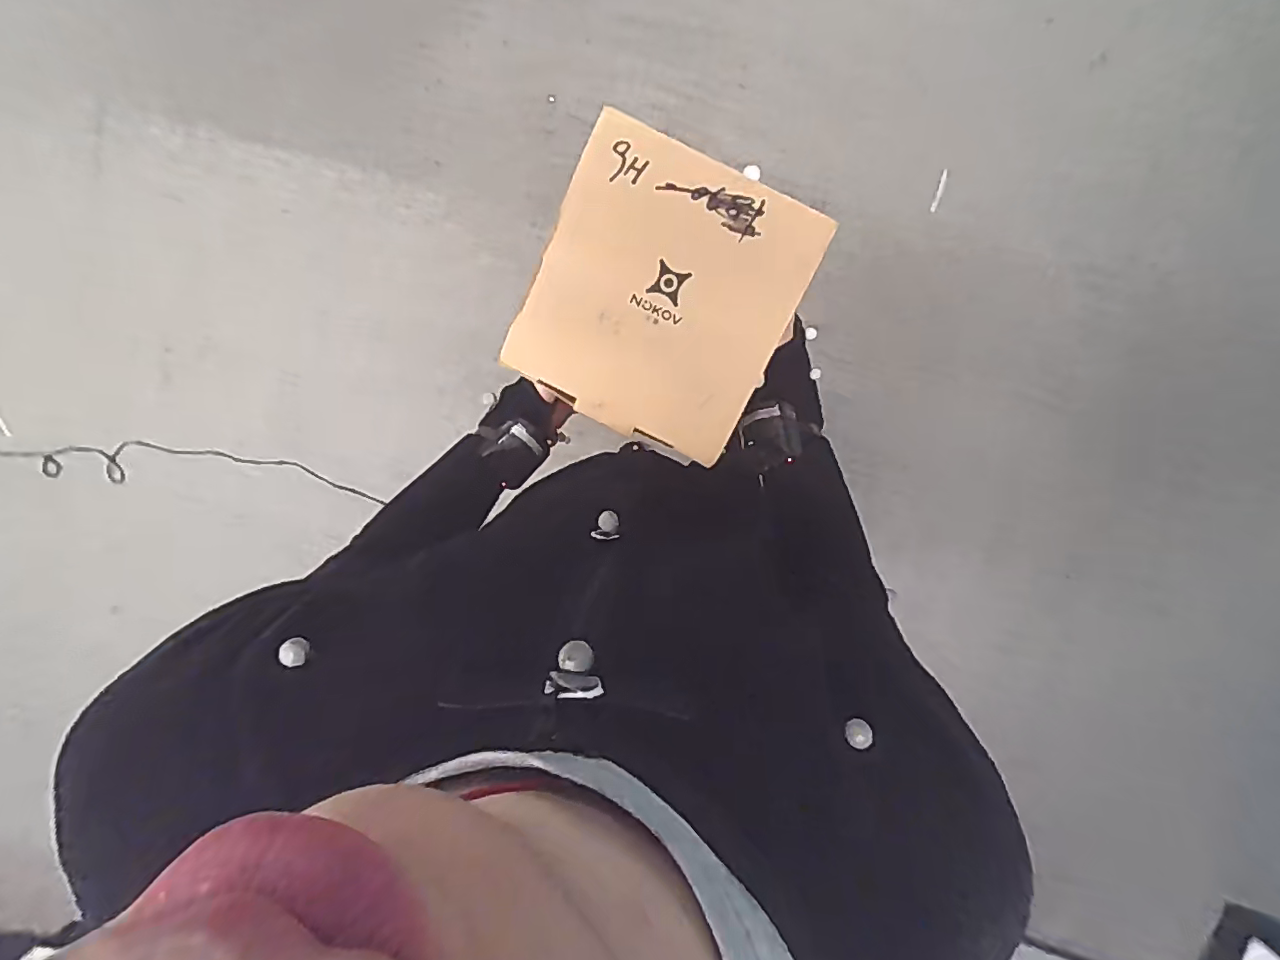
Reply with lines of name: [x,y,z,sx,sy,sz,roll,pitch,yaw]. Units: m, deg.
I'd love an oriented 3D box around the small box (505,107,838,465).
small box: [0.022,-0.134,0.429,0.168,0.176,0.179,26,101,-2]
